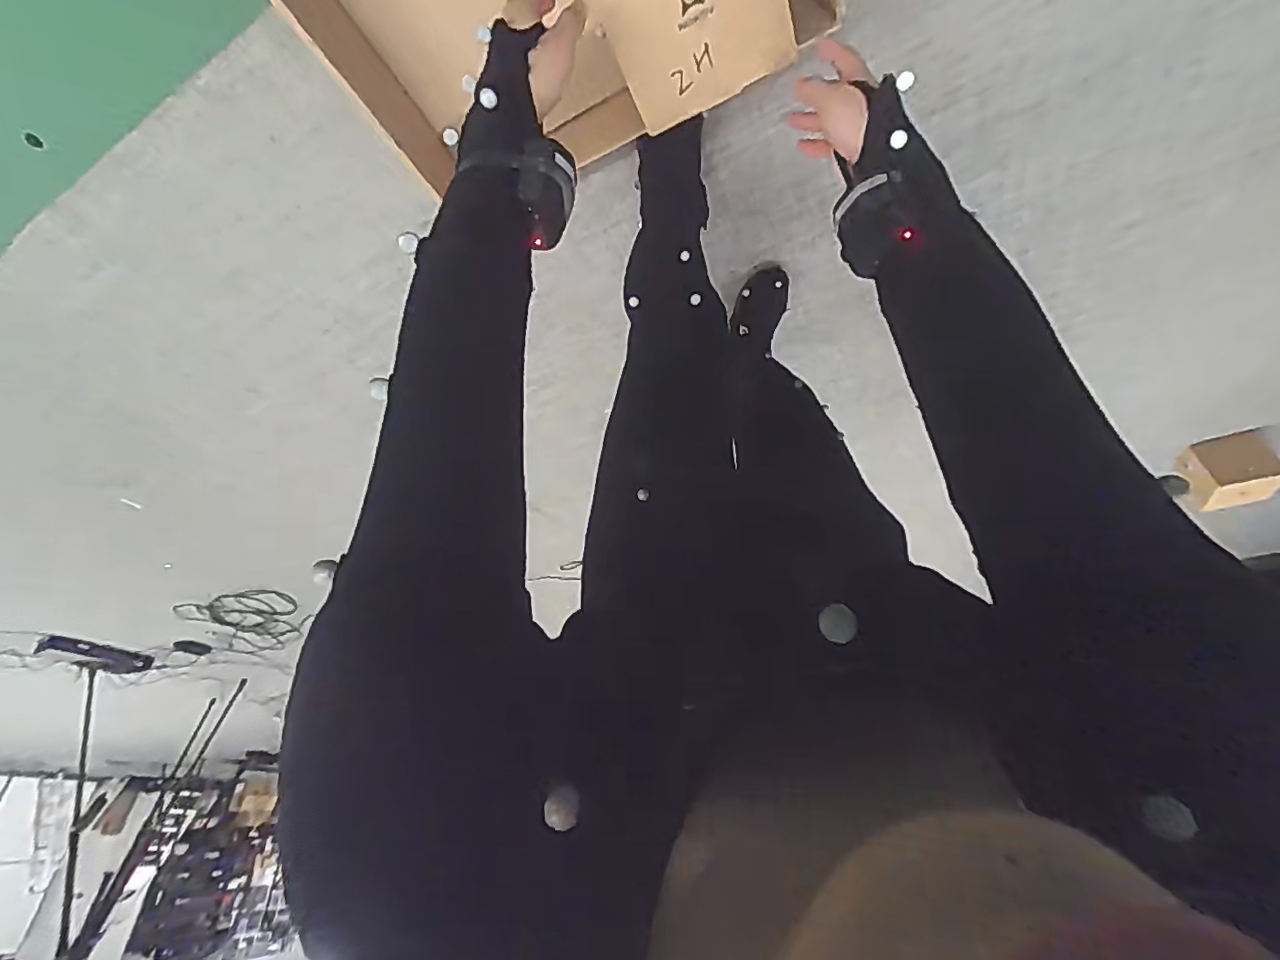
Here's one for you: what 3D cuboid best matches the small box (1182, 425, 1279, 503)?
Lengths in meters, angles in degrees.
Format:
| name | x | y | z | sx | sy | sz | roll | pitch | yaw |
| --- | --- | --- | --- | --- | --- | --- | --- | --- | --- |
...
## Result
| name | x | y | z | sx | sy | sz | roll | pitch | yaw |
| --- | --- | --- | --- | --- | --- | --- | --- | --- | --- |
| small box | 1.906 | -0.053 | 1.724 | 0.179 | 0.176 | 0.168 | -16 | 143 | 22 |

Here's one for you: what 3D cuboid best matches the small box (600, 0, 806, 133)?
| name | x | y | z | sx | sy | sz | roll | pitch | yaw |
| --- | --- | --- | --- | --- | --- | --- | --- | --- | --- |
| small box | 0.051 | -0.501 | 0.534 | 0.168 | 0.176 | 0.179 | -16 | 145 | 21 |
